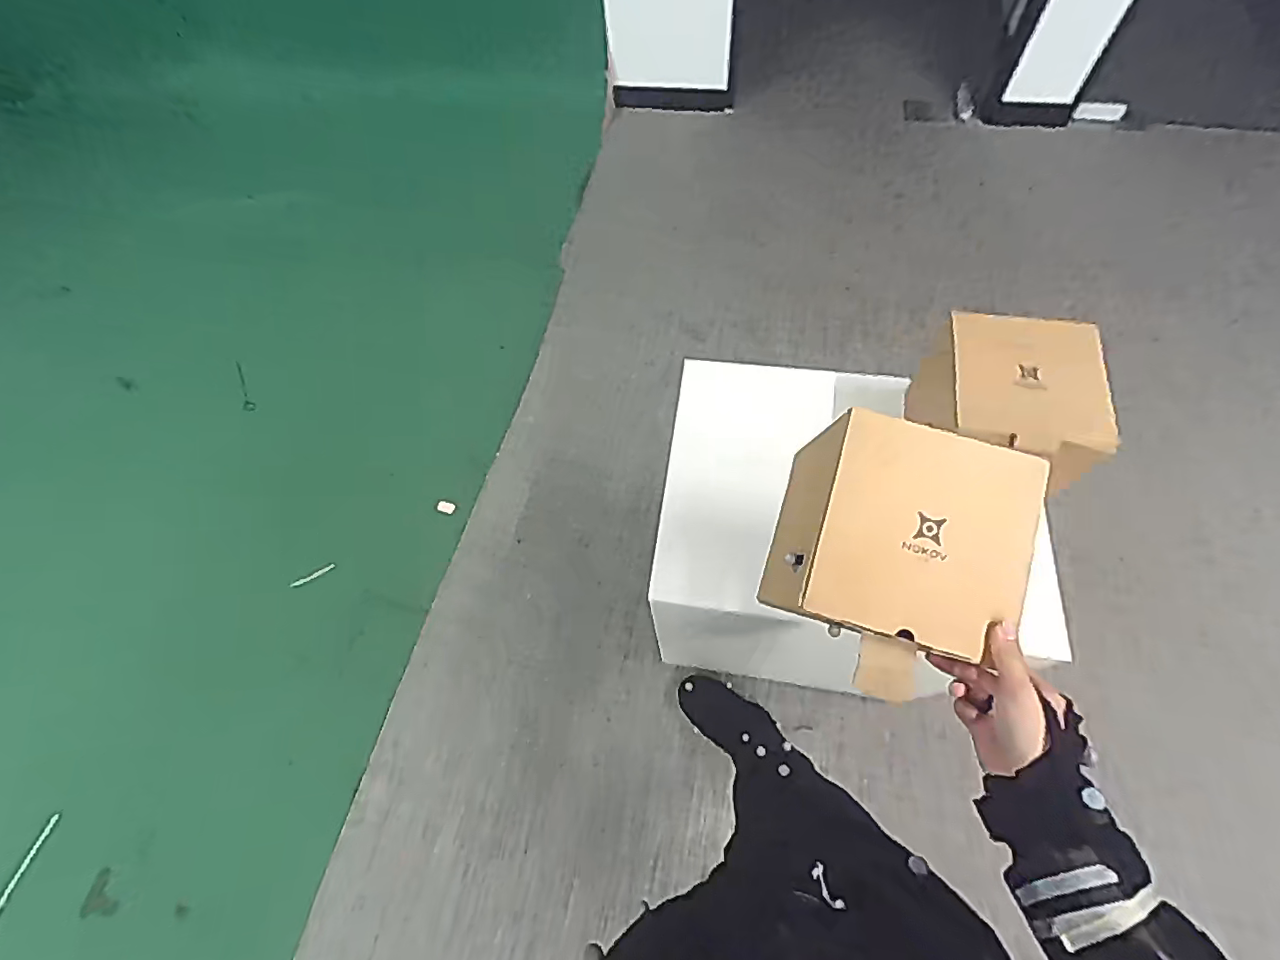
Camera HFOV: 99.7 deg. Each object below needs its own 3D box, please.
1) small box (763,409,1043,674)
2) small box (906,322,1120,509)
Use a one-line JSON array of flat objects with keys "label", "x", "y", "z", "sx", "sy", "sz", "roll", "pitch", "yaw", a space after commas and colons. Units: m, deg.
[{"label": "small box", "x": 0.227, "y": 0.058, "z": 0.509, "sx": 0.168, "sy": 0.176, "sz": 0.179, "roll": 16, "pitch": 81, "yaw": 3}, {"label": "small box", "x": 0.454, "y": -0.072, "z": 0.692, "sx": 0.168, "sy": 0.176, "sz": 0.179, "roll": 9, "pitch": 64, "yaw": 9}]
